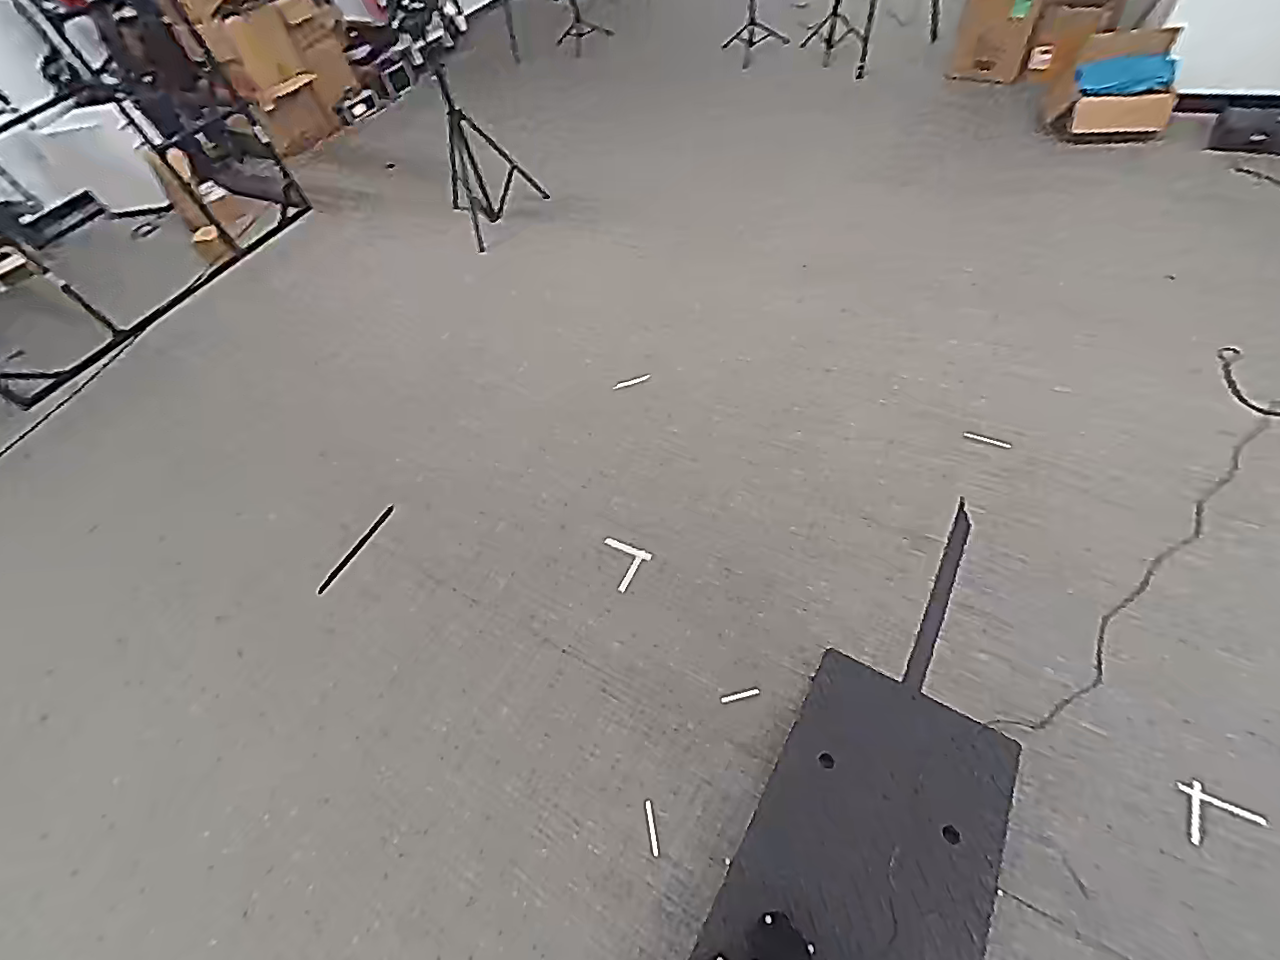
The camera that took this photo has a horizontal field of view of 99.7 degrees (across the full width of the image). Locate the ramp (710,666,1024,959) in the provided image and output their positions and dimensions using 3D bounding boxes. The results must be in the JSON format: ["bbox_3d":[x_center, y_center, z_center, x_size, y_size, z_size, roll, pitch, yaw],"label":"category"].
[{"bbox_3d":[0.478,0.903,1.143,0.509,0.206,0.991,19,59,25],"label":"ramp"}]
